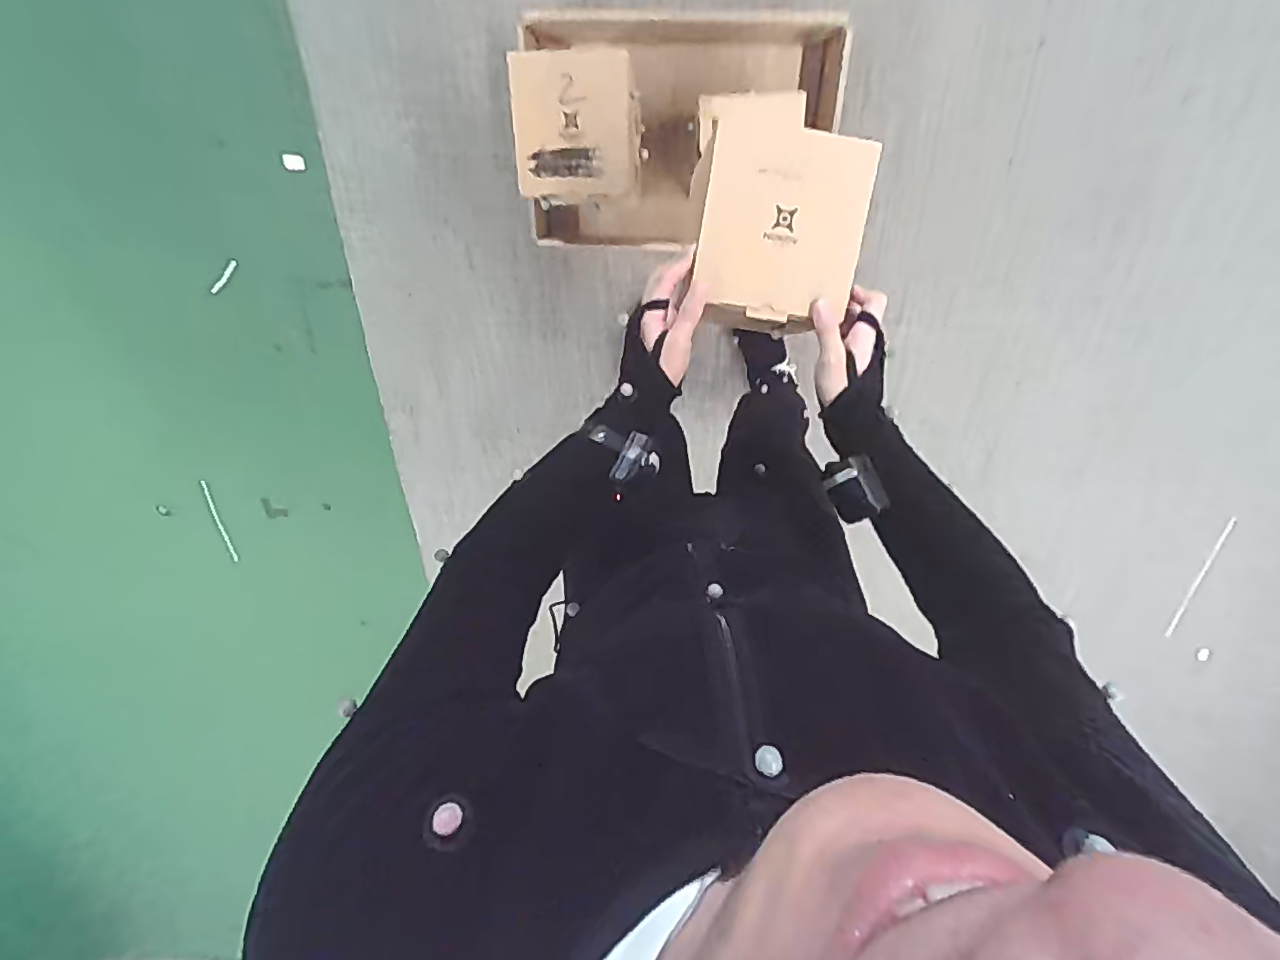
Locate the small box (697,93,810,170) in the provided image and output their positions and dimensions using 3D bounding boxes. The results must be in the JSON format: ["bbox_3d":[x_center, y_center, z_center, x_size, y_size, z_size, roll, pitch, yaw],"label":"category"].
[{"bbox_3d":[0.191,-0.586,0.977,0.179,0.176,0.168,0,118,3],"label":"small box"}]

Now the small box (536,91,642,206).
[{"bbox_3d":[-0.084,-0.597,0.988,0.179,0.176,0.168,1,116,1],"label":"small box"}]

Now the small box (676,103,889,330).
[{"bbox_3d":[0.139,-0.269,0.599,0.168,0.176,0.179,8,101,-5],"label":"small box"}]
